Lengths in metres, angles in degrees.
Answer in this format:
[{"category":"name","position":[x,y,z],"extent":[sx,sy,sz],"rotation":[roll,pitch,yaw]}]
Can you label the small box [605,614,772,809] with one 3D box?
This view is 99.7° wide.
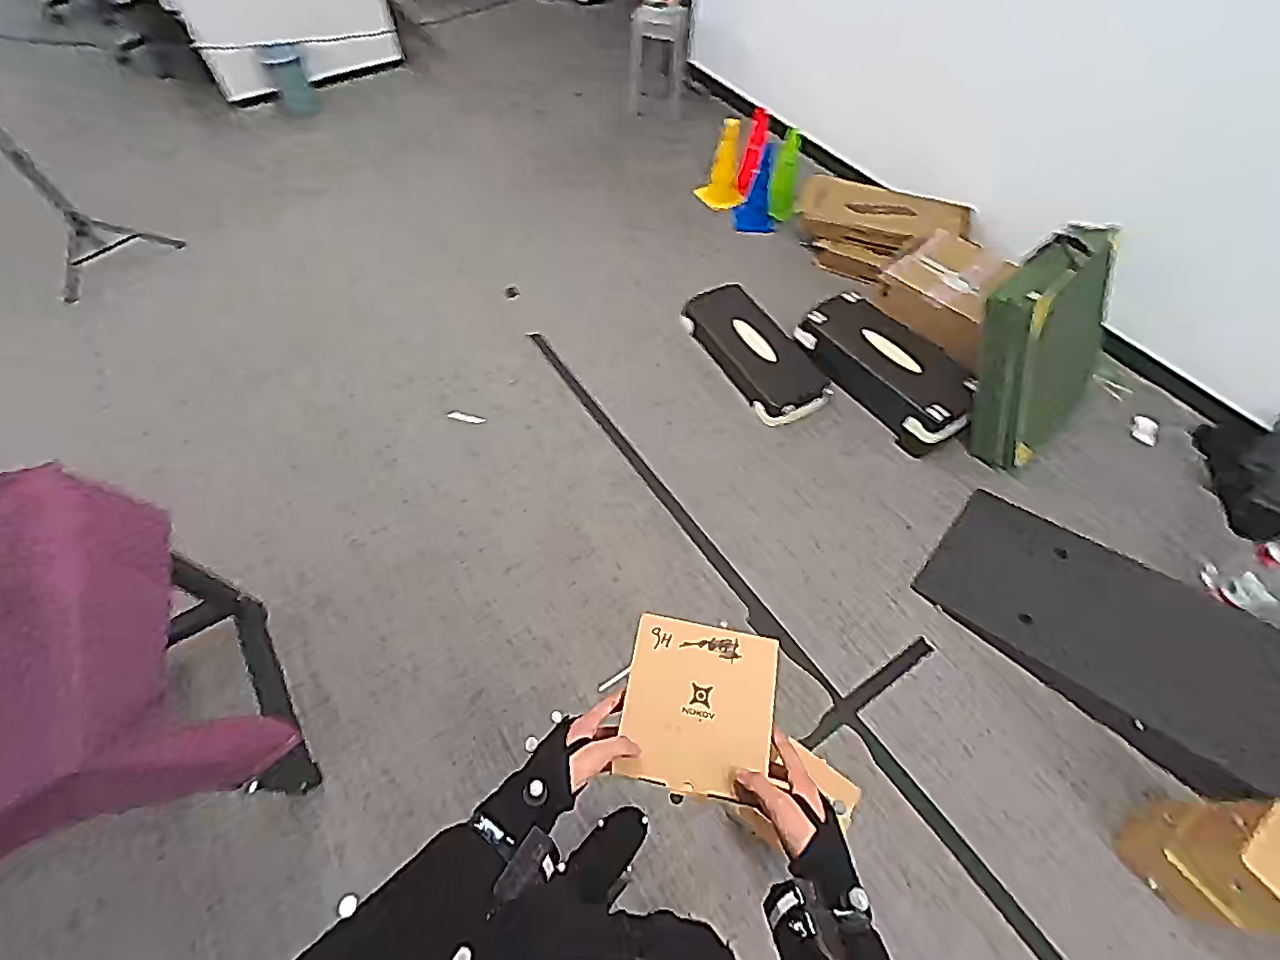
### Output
[{"category":"small box","position":[0.058,0.285,0.674],"extent":[0.168,0.176,0.179],"rotation":[11,64,3]}]
